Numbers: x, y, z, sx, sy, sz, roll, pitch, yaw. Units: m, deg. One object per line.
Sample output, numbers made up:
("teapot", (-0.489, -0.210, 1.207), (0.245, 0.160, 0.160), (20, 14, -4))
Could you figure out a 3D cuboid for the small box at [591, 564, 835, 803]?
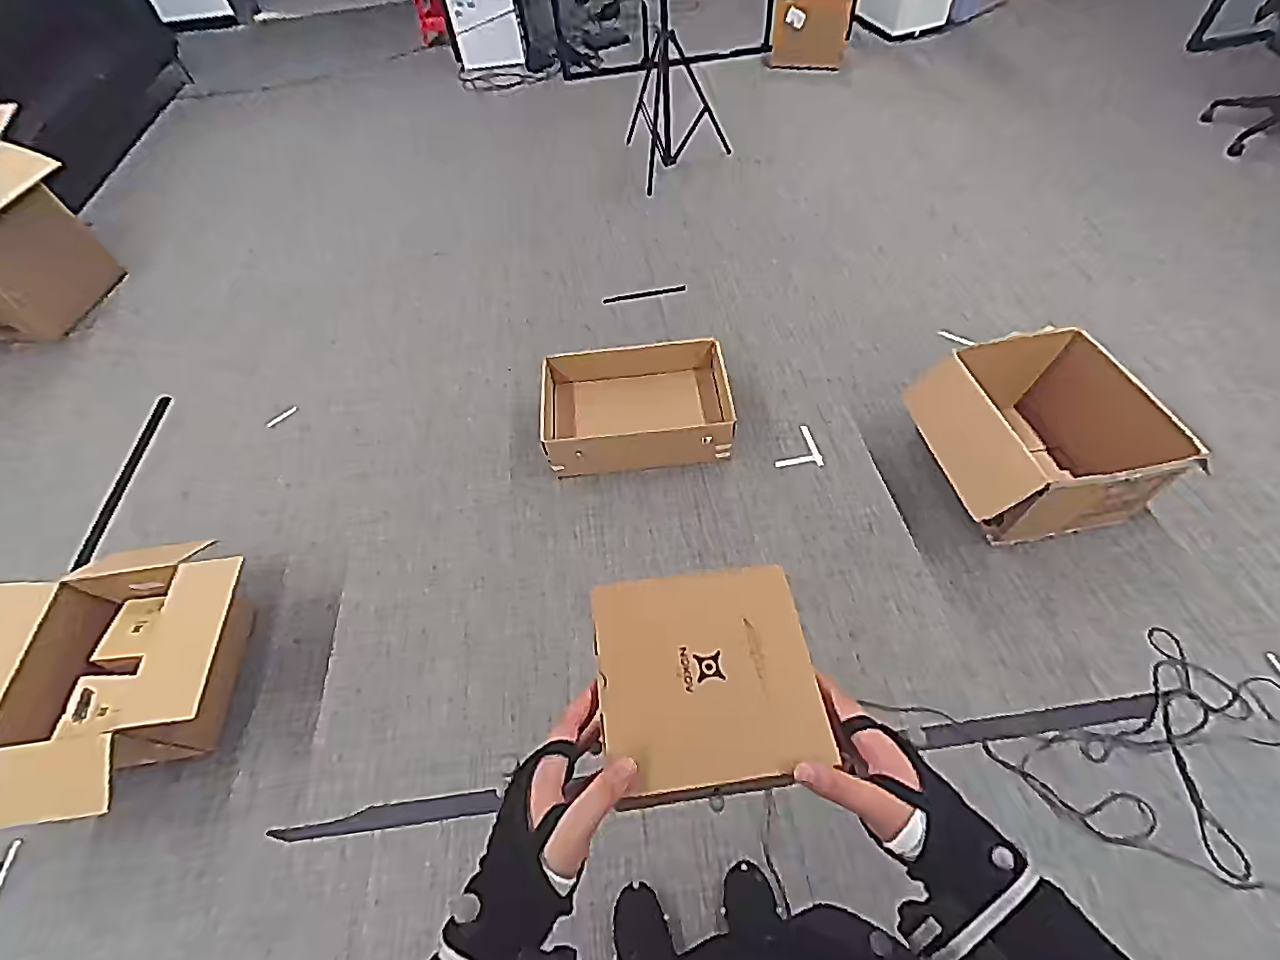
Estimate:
("small box", (0.052, 0.198, 0.512), (0.179, 0.176, 0.168), (-6, 58, -6))
